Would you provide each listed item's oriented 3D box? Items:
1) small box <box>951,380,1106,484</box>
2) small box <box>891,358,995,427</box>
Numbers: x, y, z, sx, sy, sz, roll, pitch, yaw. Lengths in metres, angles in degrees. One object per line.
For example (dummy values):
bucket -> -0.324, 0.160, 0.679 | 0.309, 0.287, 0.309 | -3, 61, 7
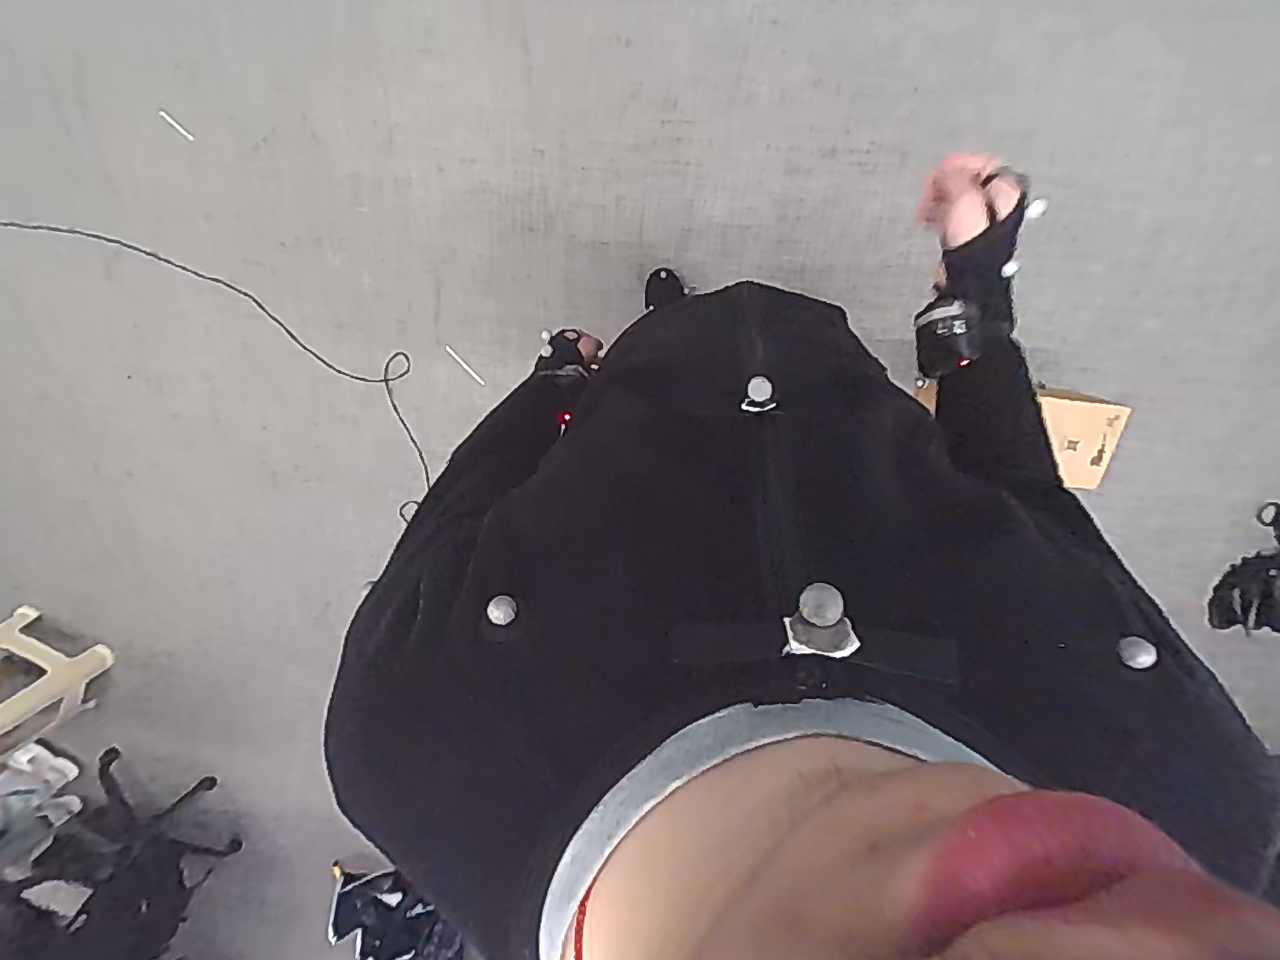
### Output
small box -> 0.789, -0.106, 1.123 | 0.179, 0.176, 0.168 | 8, 111, -1
small box -> 0.805, -0.217, 1.431 | 0.179, 0.176, 0.168 | 15, 111, -2
